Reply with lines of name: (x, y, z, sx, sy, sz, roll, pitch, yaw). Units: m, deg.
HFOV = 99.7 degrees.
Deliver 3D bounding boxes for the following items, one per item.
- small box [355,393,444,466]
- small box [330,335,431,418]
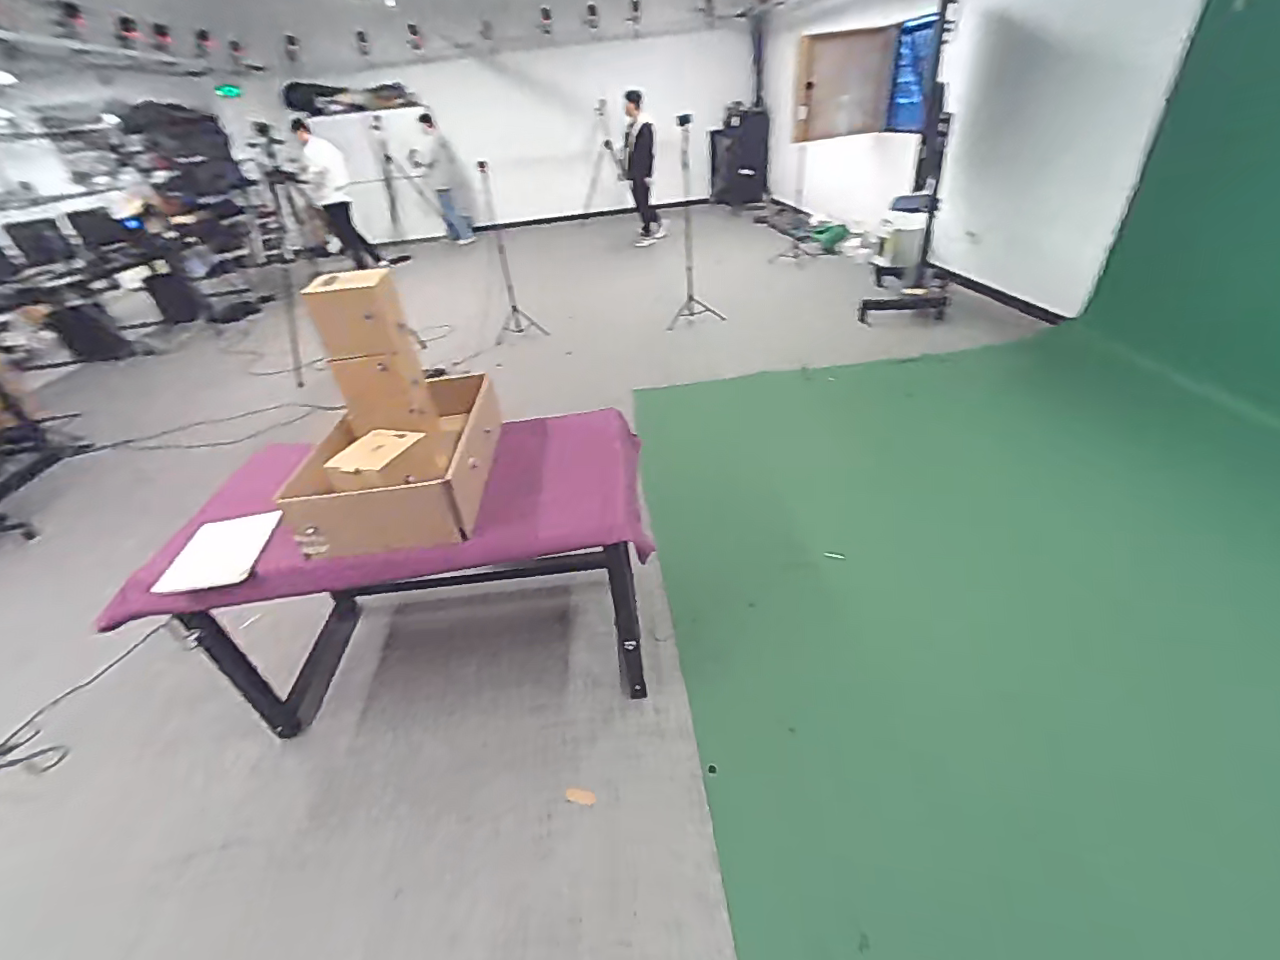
small box: (-0.690, -0.151, 1.576, 0.168, 0.176, 0.179, -6, 36, 0)
small box: (-0.700, -0.281, 1.480, 0.179, 0.176, 0.168, -8, 36, -2)
